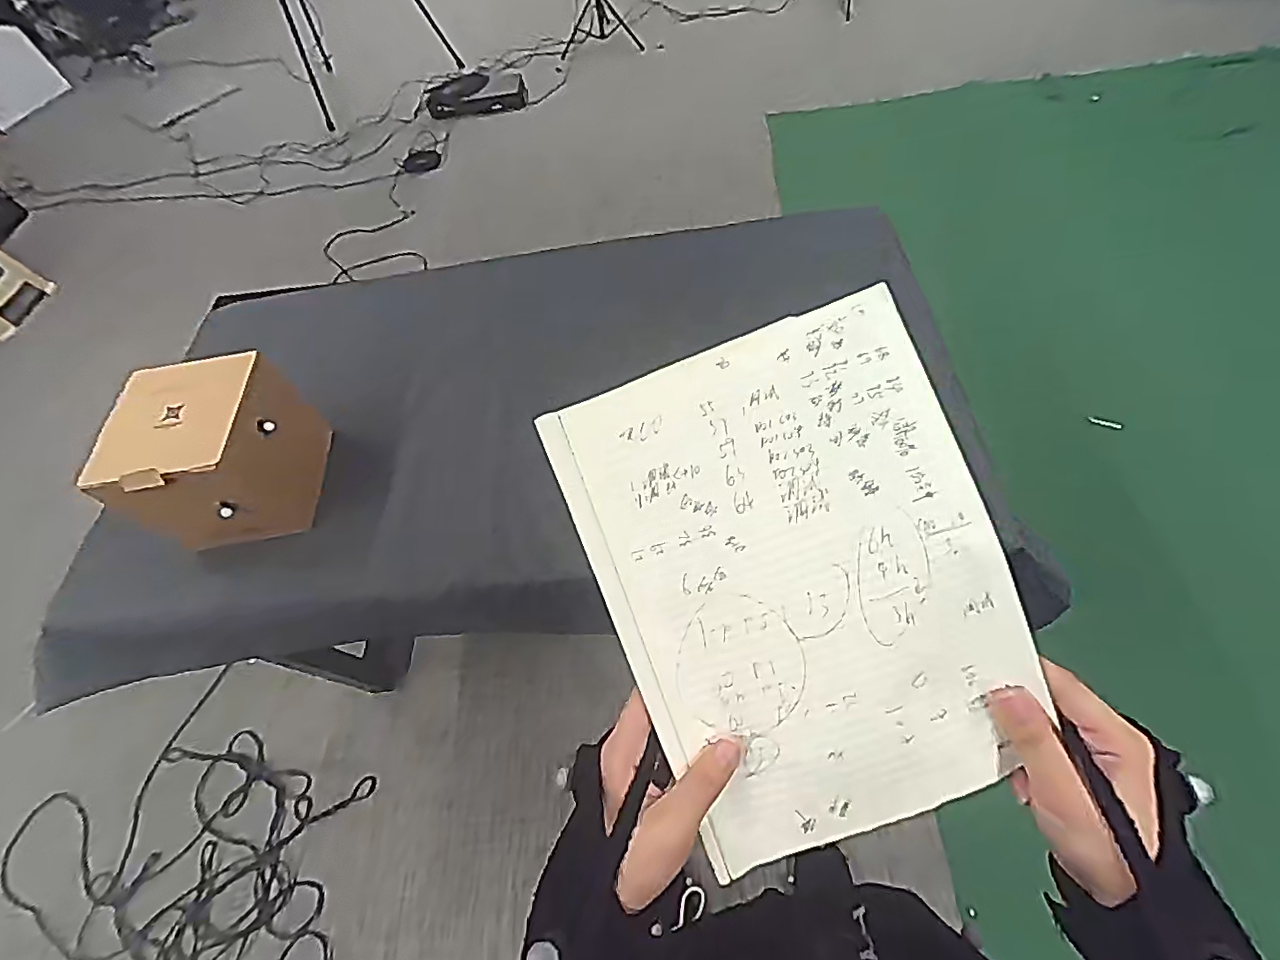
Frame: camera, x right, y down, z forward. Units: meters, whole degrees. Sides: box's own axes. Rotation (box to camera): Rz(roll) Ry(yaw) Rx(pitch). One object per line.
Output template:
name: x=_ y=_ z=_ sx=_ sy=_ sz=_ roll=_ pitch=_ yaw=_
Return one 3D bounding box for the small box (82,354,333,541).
small box: x=-0.534 y=-0.032 z=0.703 sx=0.168 sy=0.176 sz=0.179 roll=-8 pitch=57 yaw=2
